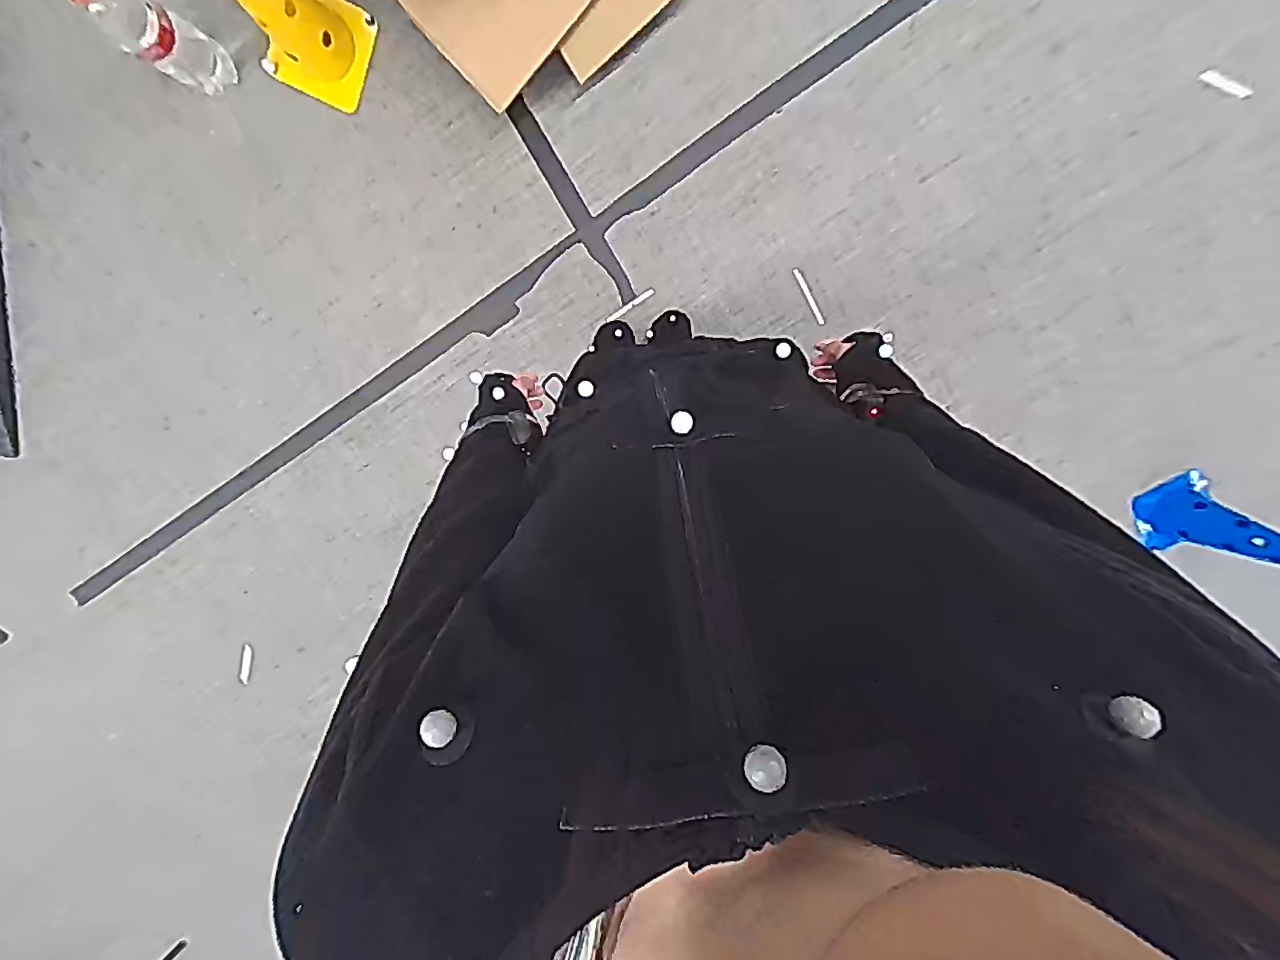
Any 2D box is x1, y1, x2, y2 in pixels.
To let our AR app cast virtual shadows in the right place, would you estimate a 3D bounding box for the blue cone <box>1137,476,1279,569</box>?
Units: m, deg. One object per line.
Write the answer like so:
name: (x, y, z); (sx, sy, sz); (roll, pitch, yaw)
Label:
blue cone: (1.497, 0.144, 1.354); (0.193, 0.380, 0.192); (-28, 106, 7)
